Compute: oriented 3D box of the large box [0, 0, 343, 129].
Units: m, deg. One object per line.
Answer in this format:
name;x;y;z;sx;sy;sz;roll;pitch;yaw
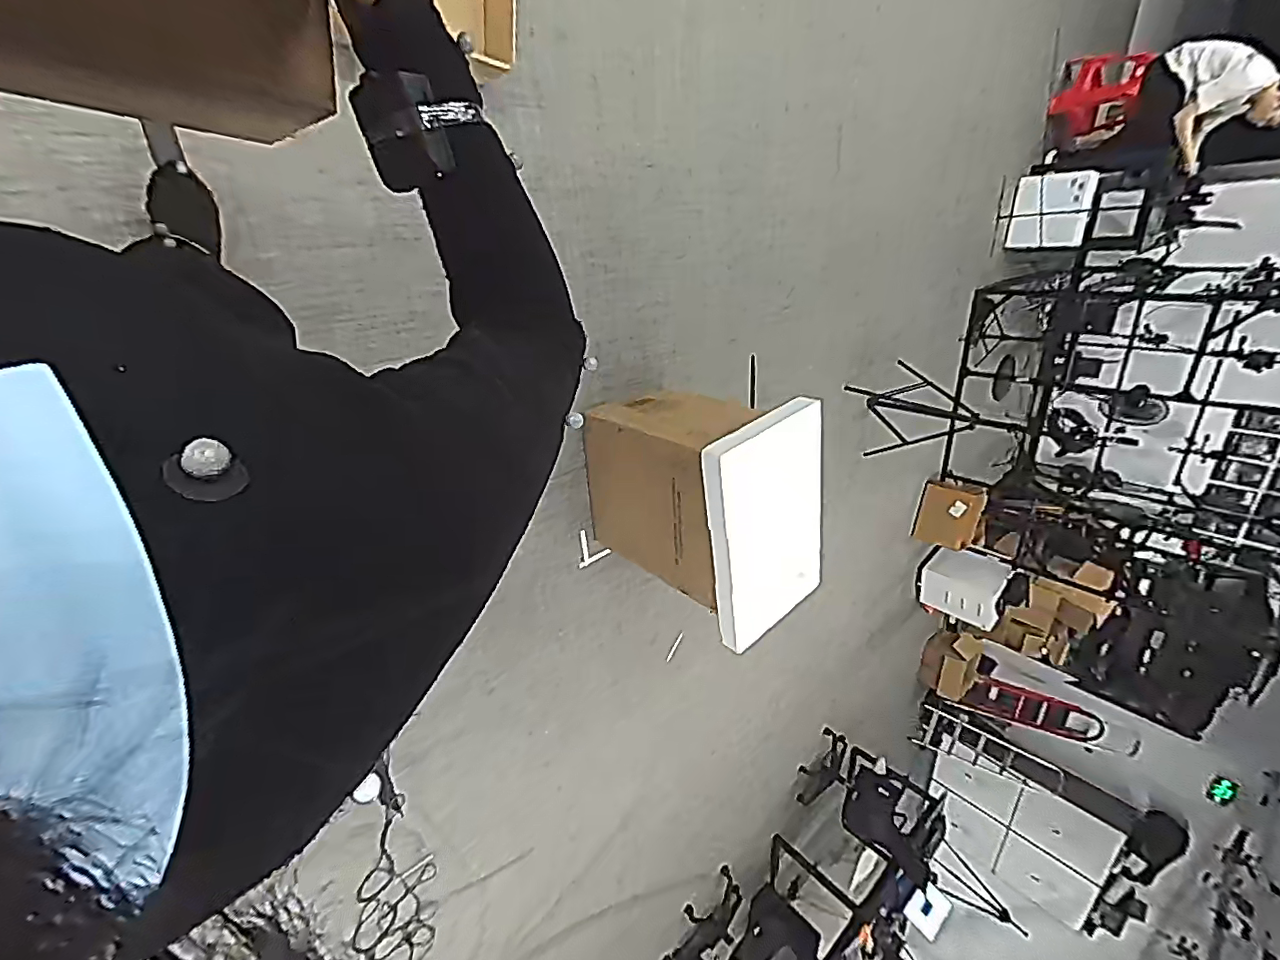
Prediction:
large box;-0.441;-0.429;0.312;0.408;0.320;0.320;-12;118;-37
